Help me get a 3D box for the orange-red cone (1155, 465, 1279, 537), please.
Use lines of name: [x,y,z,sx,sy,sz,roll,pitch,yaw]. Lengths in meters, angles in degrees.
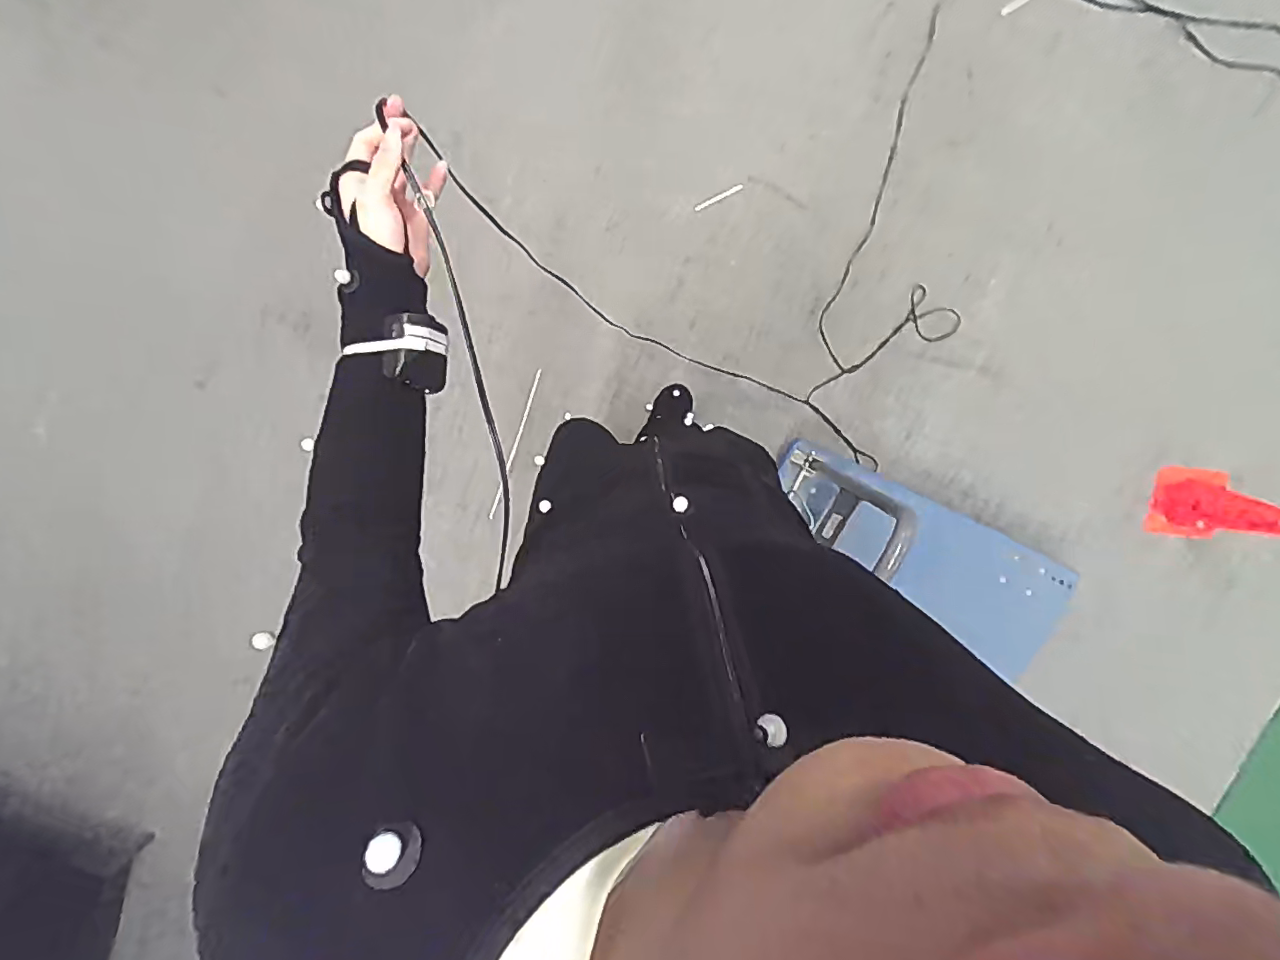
orange-red cone: [1.603,0.085,1.398,0.198,0.360,0.199,6,98,0]
